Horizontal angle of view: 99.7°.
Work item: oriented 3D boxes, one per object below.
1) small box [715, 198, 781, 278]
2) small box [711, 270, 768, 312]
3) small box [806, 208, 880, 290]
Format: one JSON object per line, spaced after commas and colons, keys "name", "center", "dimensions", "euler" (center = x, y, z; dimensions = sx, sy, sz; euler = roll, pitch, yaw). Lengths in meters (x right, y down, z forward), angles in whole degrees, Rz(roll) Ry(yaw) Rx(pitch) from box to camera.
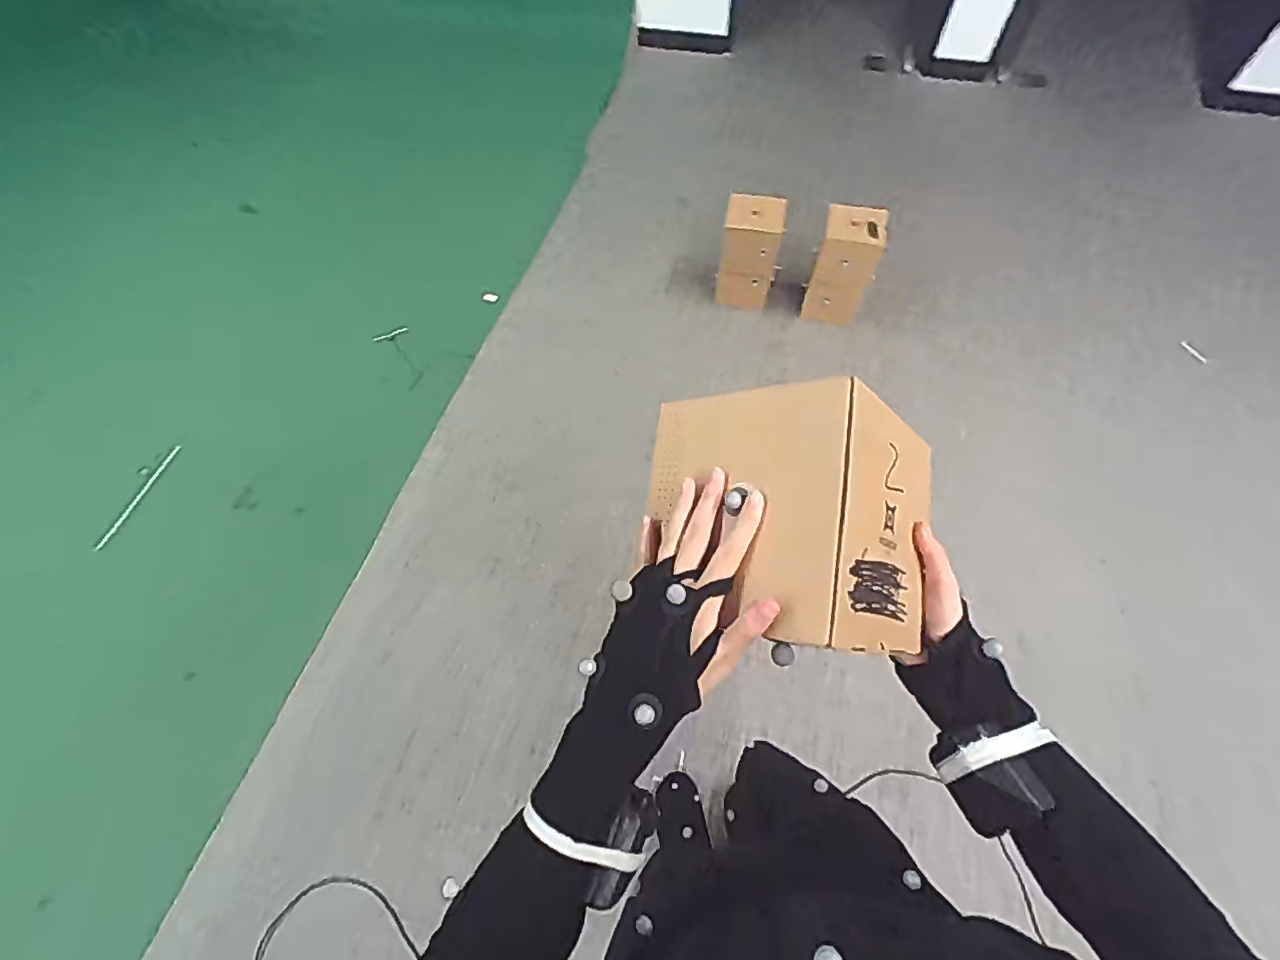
{"name": "small box", "center": [0.349, -0.785, 1.766], "dimensions": [0.179, 0.176, 0.168], "euler": [10, 63, 9]}
{"name": "small box", "center": [0.356, -0.719, 1.916], "dimensions": [0.179, 0.176, 0.168], "euler": [10, 63, 9]}
{"name": "small box", "center": [0.644, -0.732, 1.723], "dimensions": [0.179, 0.176, 0.168], "euler": [11, 63, 9]}
